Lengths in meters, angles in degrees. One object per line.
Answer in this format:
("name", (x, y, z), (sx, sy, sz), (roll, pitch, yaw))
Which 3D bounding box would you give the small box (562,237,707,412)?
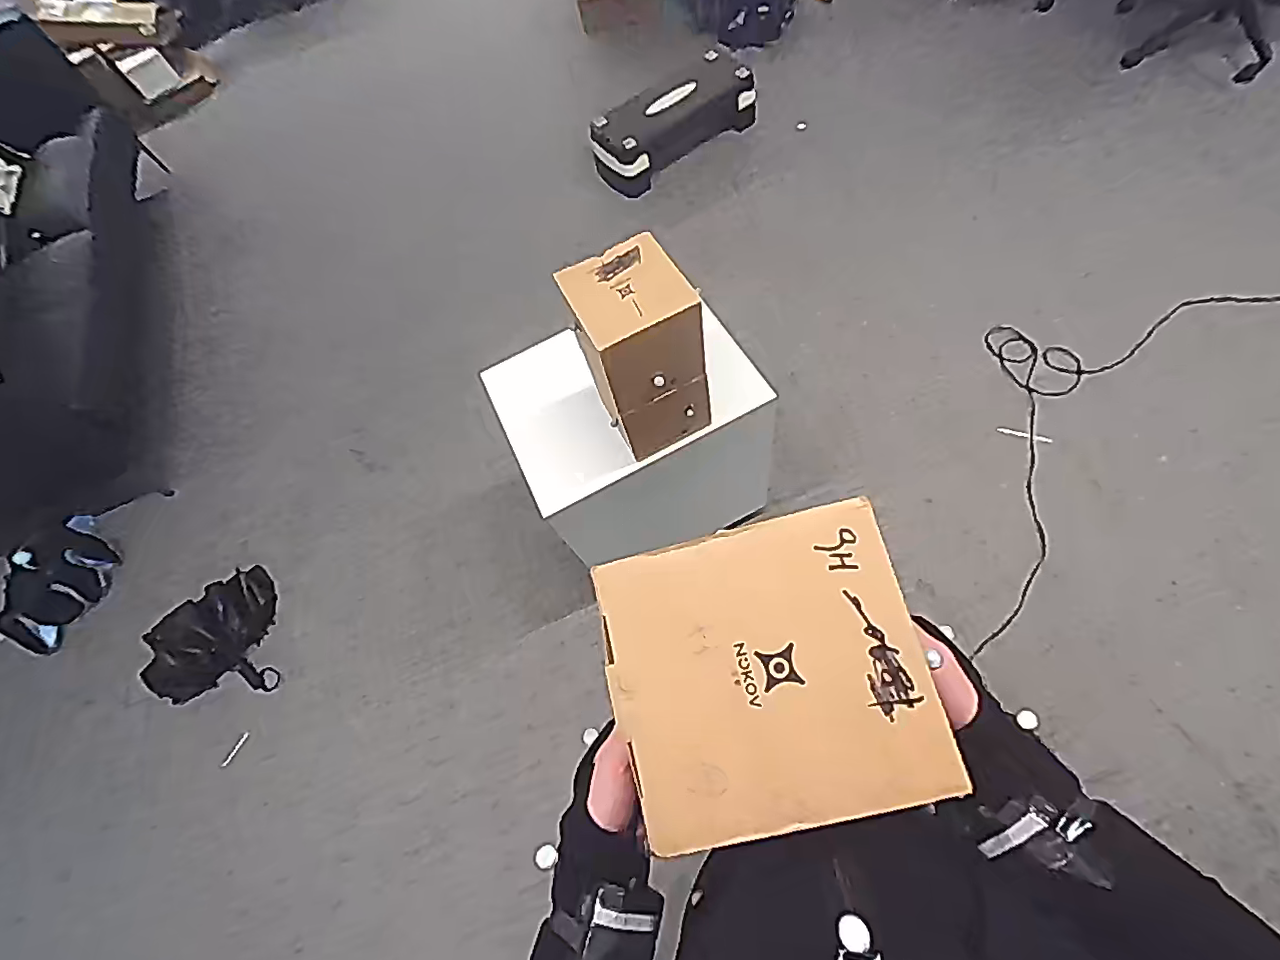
("small box", (-0.003, -0.242, 0.866), (0.168, 0.176, 0.179), (-26, 63, -4))

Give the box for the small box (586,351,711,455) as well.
("small box", (0.022, -0.168, 1.011), (0.168, 0.176, 0.179), (-27, 61, -5))
